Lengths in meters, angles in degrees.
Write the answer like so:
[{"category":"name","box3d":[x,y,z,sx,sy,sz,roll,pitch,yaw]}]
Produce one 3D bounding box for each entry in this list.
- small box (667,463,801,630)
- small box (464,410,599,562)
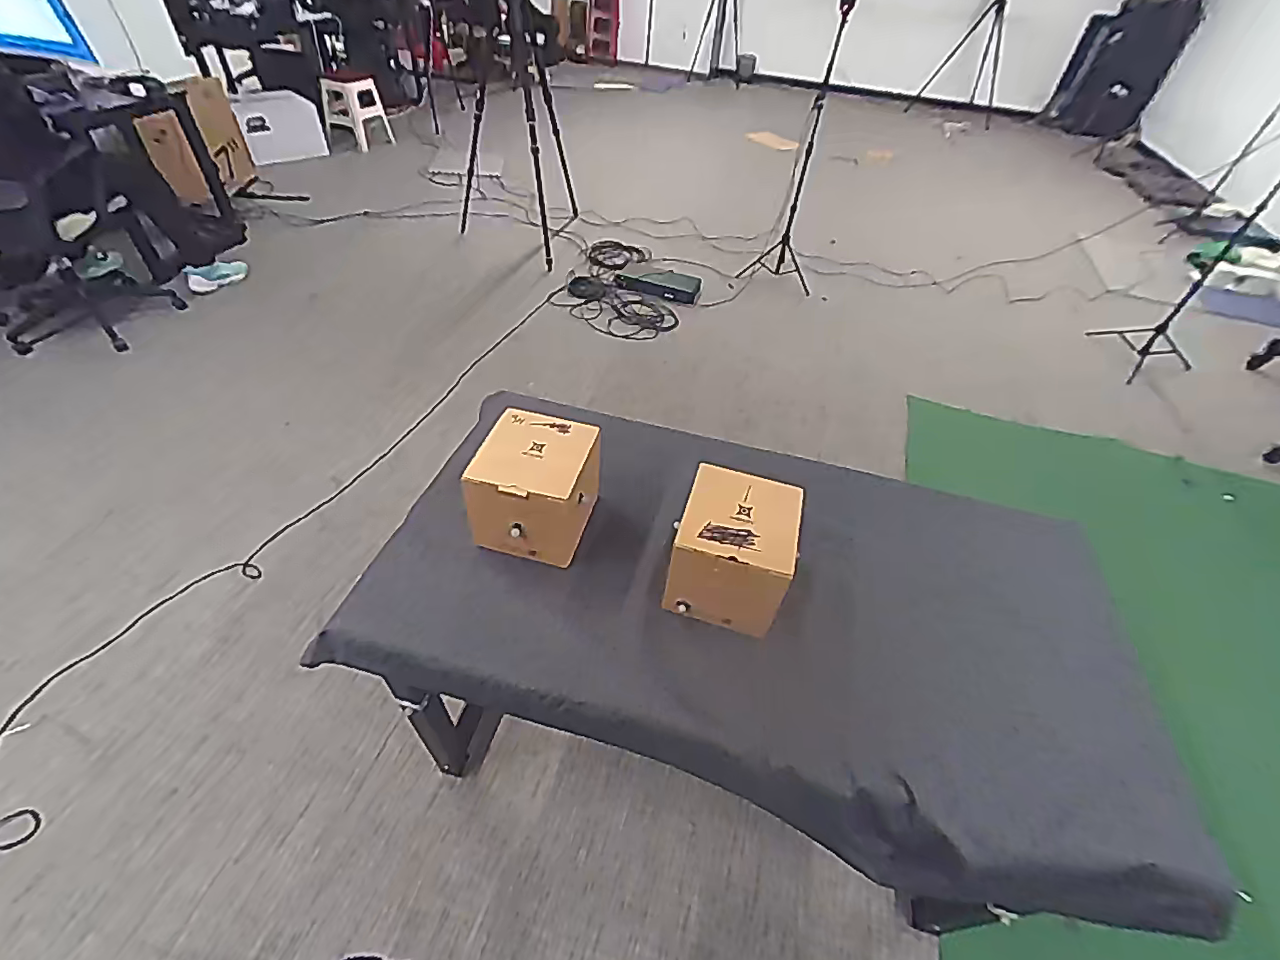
[{"category":"small box","box3d":[0.143,0.107,0.847,0.168,0.176,0.179,15,45,9]},{"category":"small box","box3d":[-0.169,0.013,0.910,0.168,0.176,0.179,13,47,7]}]
